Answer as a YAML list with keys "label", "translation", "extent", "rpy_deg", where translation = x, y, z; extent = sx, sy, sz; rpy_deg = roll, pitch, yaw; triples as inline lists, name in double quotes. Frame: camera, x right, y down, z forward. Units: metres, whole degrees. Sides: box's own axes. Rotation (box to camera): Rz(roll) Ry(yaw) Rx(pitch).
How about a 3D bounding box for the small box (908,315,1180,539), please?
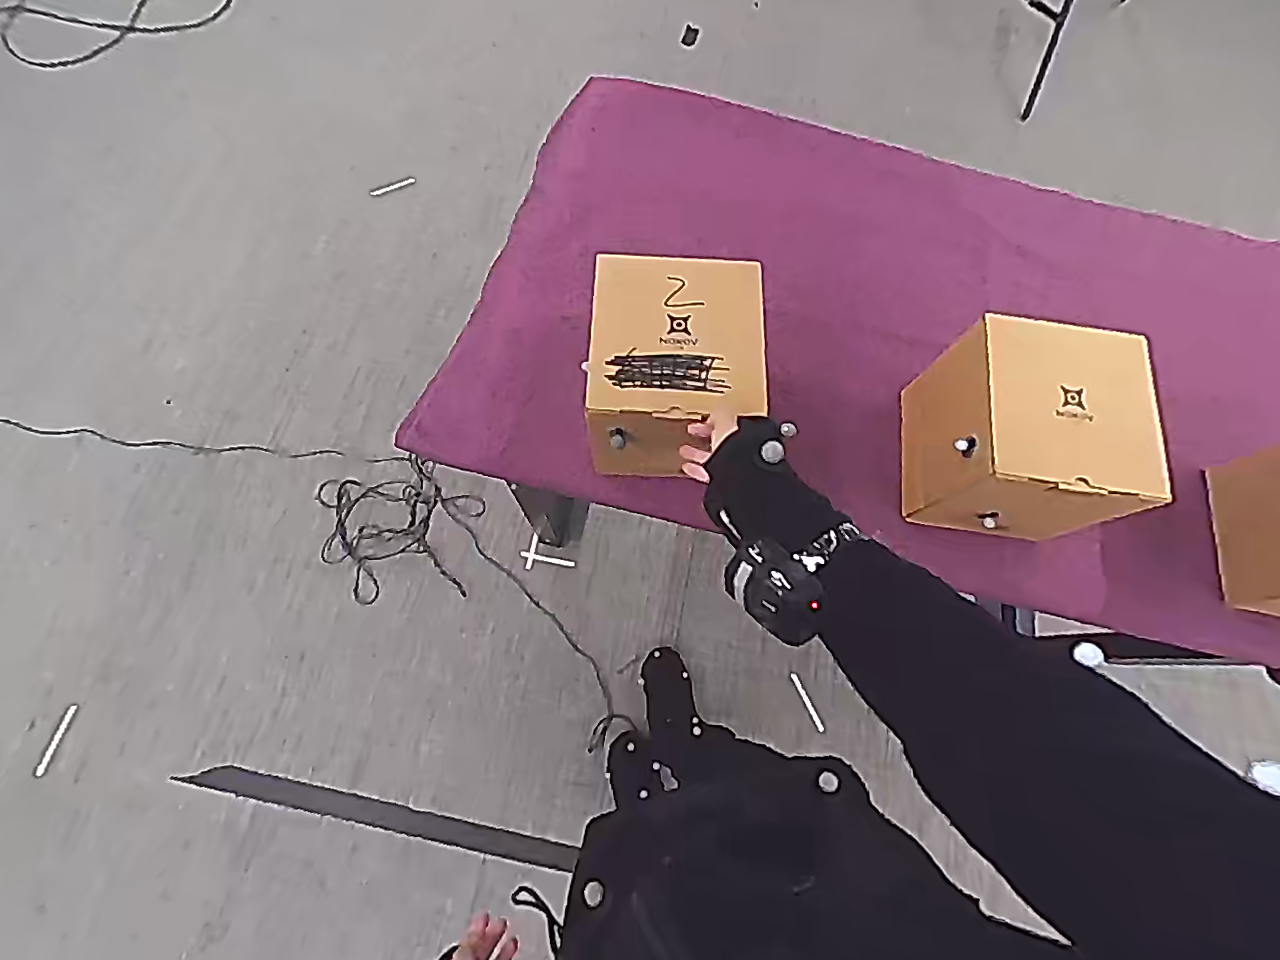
- label: "small box"
  translation: [0.411, -0.046, 0.586]
  extent: [0.168, 0.176, 0.179]
  rpy_deg: [8, 72, 0]

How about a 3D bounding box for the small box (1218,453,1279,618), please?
- label: "small box"
  translation: [0.779, 0.058, 0.572]
  extent: [0.168, 0.176, 0.179]
  rpy_deg: [12, 71, 2]
